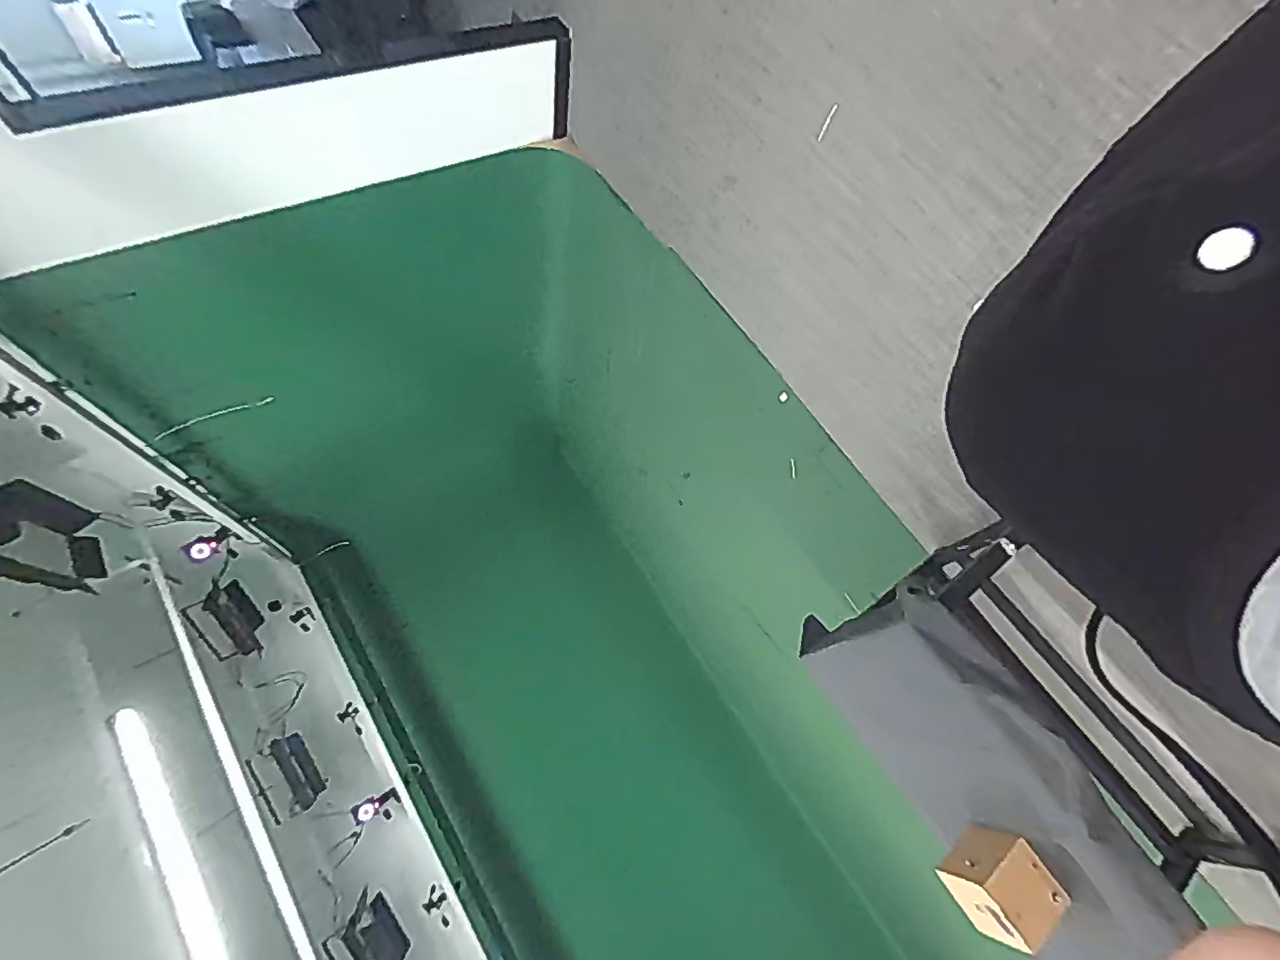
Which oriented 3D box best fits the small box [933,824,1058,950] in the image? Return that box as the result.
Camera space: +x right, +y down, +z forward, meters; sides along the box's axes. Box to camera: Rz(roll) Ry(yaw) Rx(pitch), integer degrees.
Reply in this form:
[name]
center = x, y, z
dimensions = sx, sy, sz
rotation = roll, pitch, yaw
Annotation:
[small box]
center = 0.889, 0.997, 1.346
dimensions = 0.168, 0.176, 0.179
rotation = 54, 158, 14
